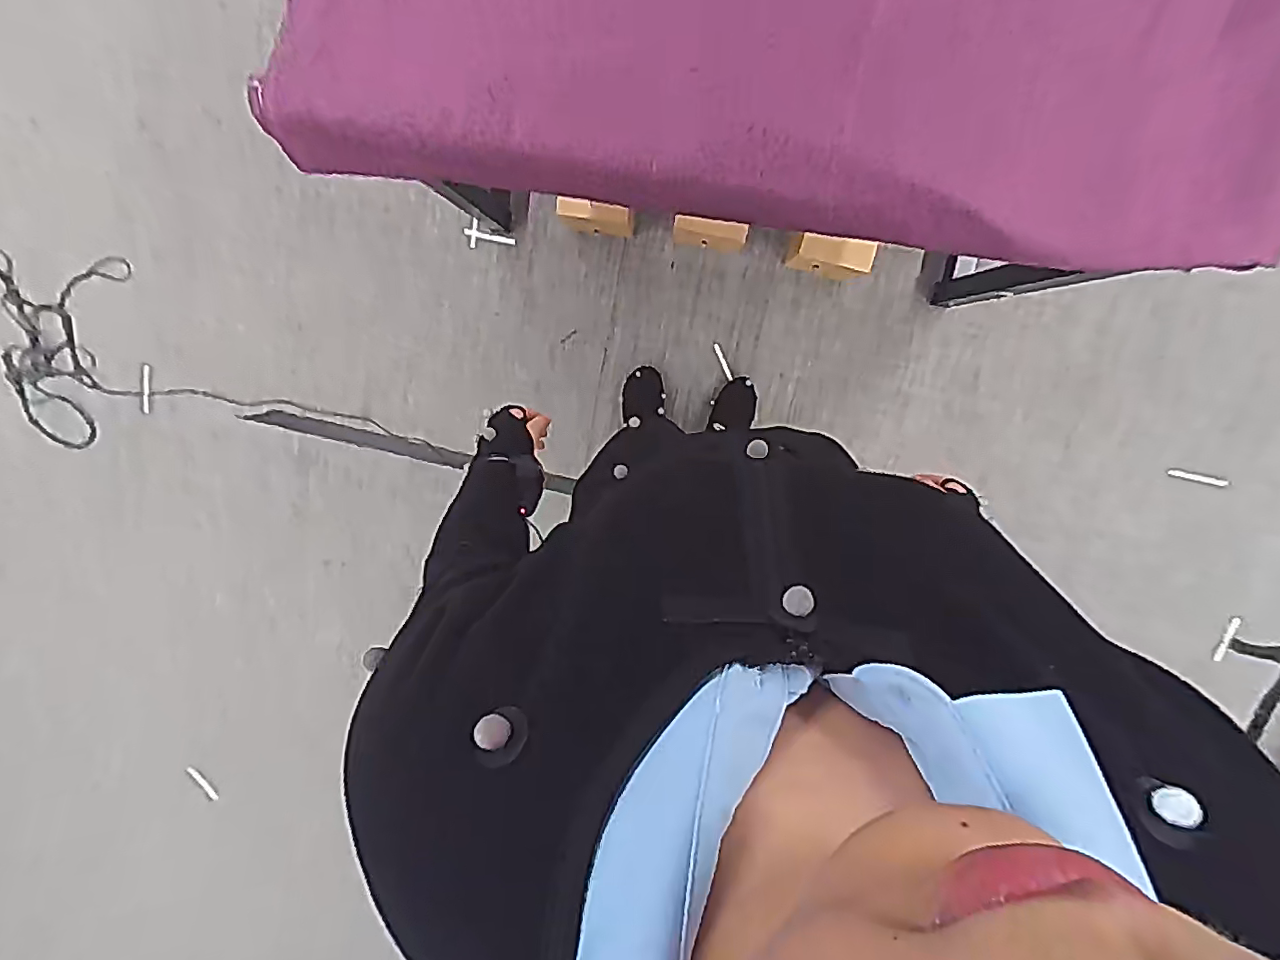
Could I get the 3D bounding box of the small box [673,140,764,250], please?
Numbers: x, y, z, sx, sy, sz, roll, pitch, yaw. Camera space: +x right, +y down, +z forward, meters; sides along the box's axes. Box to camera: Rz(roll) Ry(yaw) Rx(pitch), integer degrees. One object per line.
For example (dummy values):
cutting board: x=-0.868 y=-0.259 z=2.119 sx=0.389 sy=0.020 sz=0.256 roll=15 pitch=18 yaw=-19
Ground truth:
small box: x=0.178 y=-0.656 z=1.269 sx=0.168 sy=0.176 sz=0.179 roll=12 pitch=103 yaw=0

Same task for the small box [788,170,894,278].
small box: x=0.459 y=-0.589 z=1.270 sx=0.168 sy=0.176 sz=0.179 roll=15 pitch=103 yaw=0
